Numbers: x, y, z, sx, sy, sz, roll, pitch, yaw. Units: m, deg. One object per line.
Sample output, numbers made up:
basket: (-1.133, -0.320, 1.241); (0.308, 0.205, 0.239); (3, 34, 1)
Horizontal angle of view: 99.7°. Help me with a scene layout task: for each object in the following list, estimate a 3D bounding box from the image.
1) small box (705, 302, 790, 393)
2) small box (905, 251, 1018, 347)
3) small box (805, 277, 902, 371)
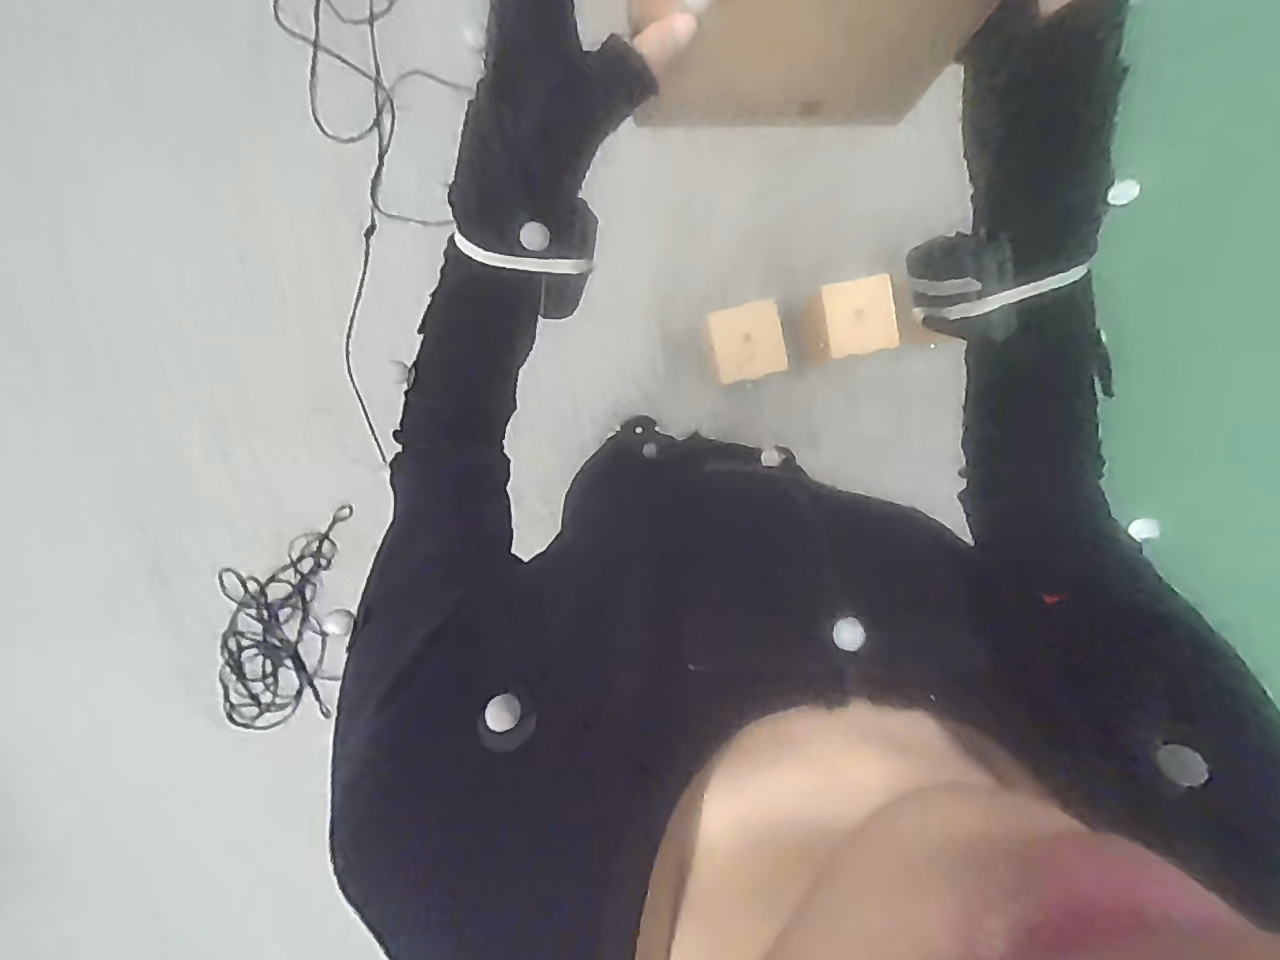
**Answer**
small box: (0.264, -0.325, 1.360); (0.168, 0.176, 0.179); (-12, 94, 4)
small box: (0.788, -0.437, 1.341); (0.168, 0.176, 0.179); (-14, 93, 2)
small box: (0.526, -0.382, 1.352); (0.168, 0.176, 0.179); (-11, 94, 2)
